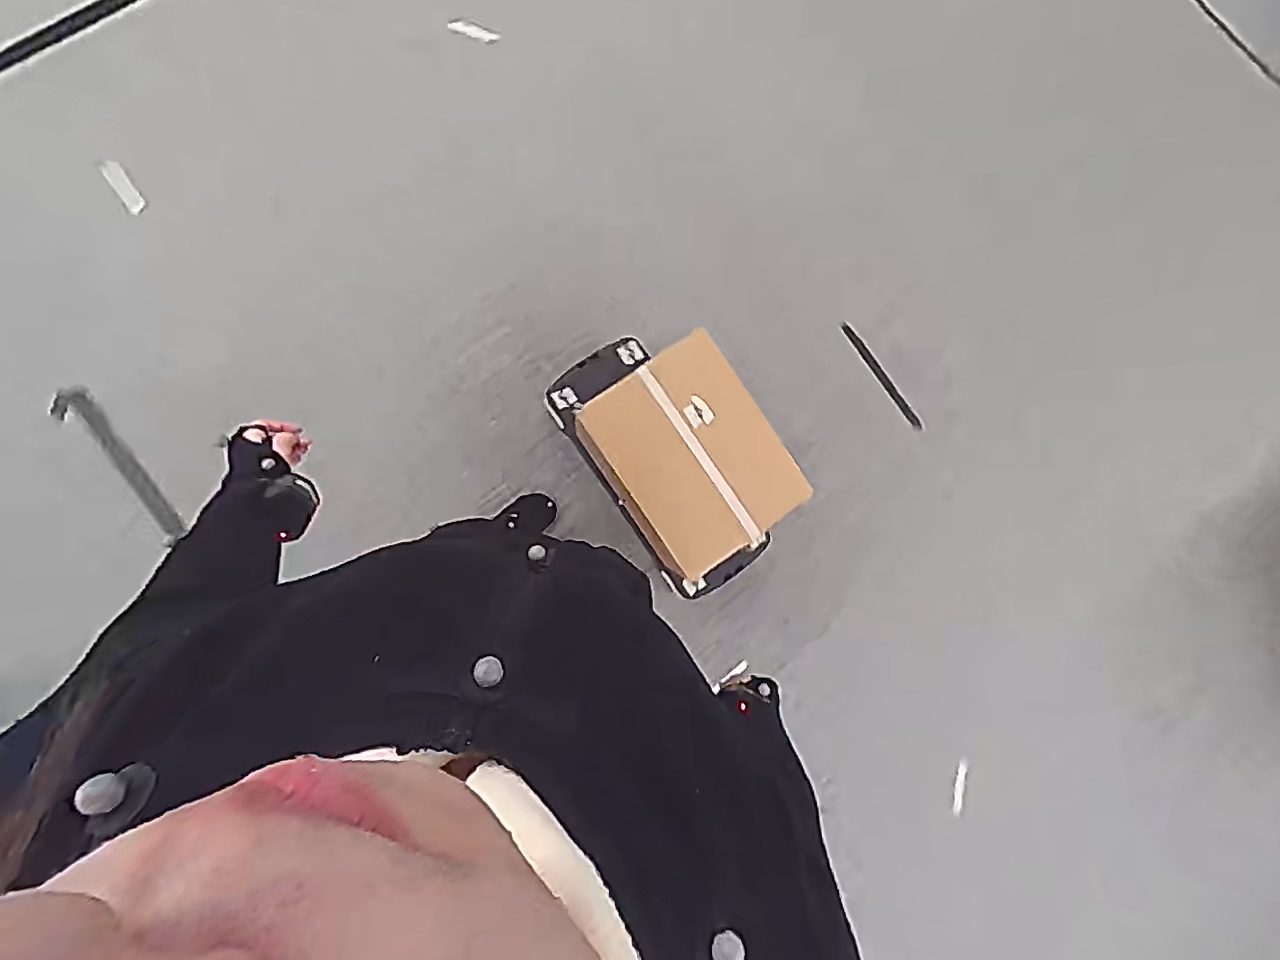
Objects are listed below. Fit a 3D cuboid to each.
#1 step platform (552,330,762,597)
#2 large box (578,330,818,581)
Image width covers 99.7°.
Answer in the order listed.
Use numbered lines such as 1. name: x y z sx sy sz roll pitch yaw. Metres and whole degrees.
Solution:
1. step platform: 0.040 -0.039 1.425 0.286 0.204 0.684 -29 90 -7
2. large box: 0.105 -0.041 1.192 0.320 0.320 0.408 -34 90 -7
